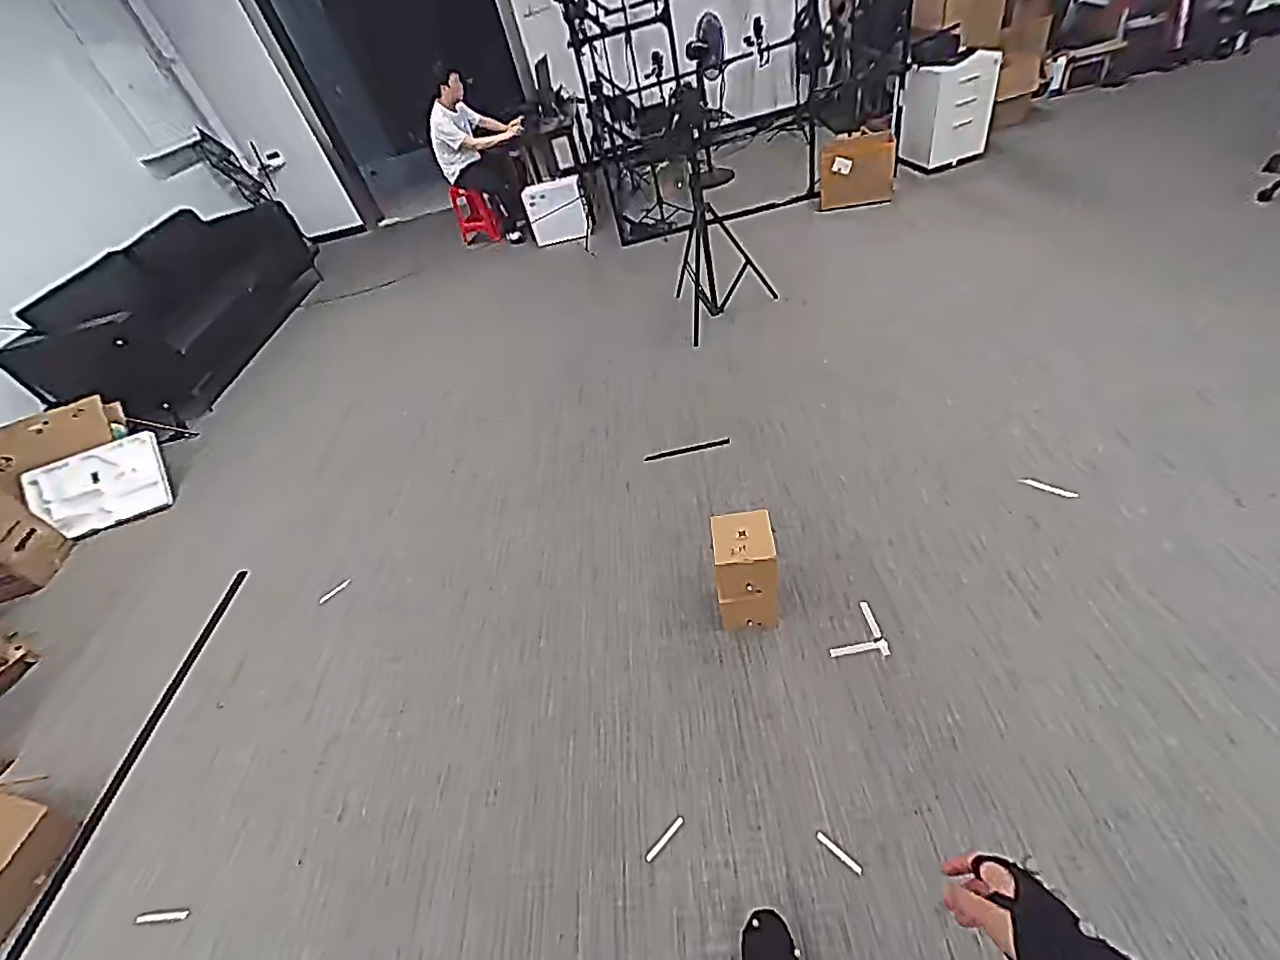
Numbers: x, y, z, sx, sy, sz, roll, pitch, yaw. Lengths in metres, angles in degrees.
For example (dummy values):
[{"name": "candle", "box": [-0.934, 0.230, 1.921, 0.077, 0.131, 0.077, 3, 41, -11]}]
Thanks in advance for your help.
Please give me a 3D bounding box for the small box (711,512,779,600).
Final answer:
[{"name": "small box", "box": [0.297, 0.216, 1.536, 0.168, 0.176, 0.179, -9, 44, 10]}]
